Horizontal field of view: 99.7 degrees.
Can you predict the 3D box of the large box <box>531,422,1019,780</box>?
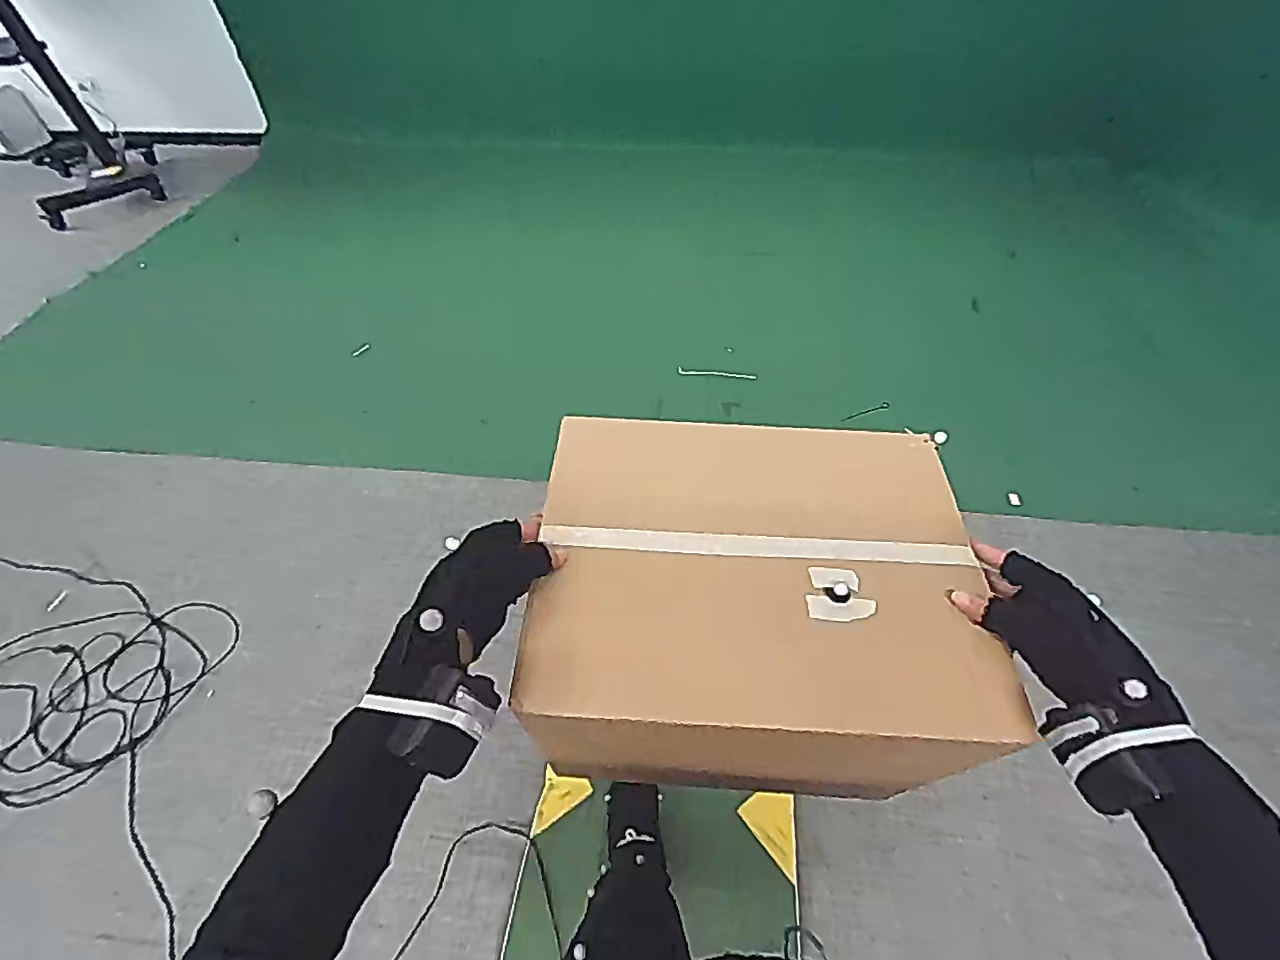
[{"bbox_3d":[0.108,0.153,0.639,0.408,0.320,0.320,3,54,0],"label":"large box"}]
